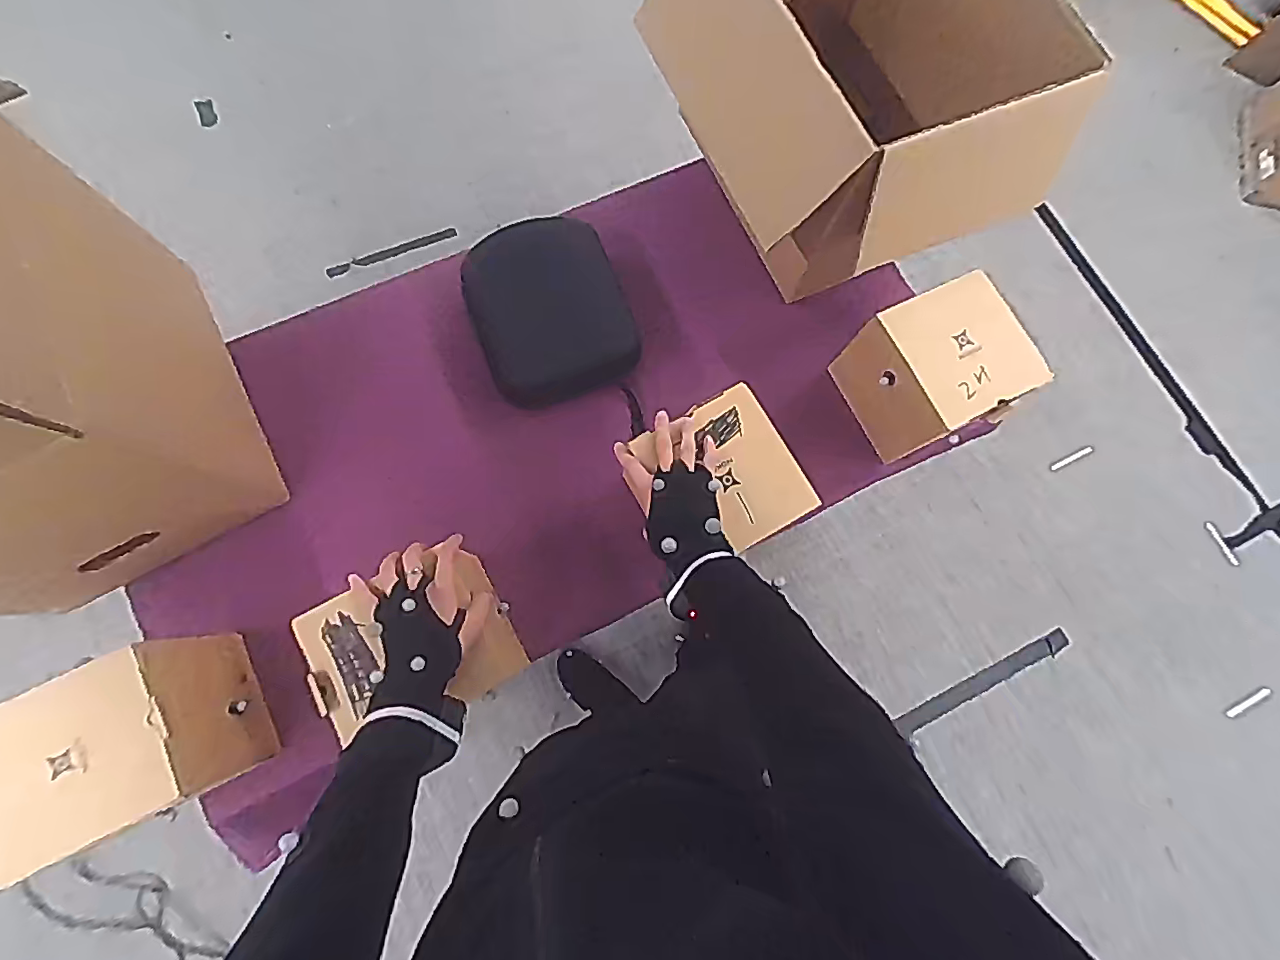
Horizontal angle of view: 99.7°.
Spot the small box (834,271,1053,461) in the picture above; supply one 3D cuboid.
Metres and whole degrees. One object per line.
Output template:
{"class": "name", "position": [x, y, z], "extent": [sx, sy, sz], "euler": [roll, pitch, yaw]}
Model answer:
{"class": "small box", "position": [0.405, -0.149, 0.759], "extent": [0.168, 0.176, 0.179], "euler": [-25, 80, -7]}

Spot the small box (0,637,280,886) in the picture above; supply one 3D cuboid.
{"class": "small box", "position": [-0.559, 0.292, 0.607], "extent": [0.179, 0.176, 0.168], "euler": [-26, 80, -10]}

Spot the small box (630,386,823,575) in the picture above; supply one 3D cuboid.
{"class": "small box", "position": [0.097, 0.012, 0.706], "extent": [0.168, 0.176, 0.179], "euler": [-28, 82, -9]}
